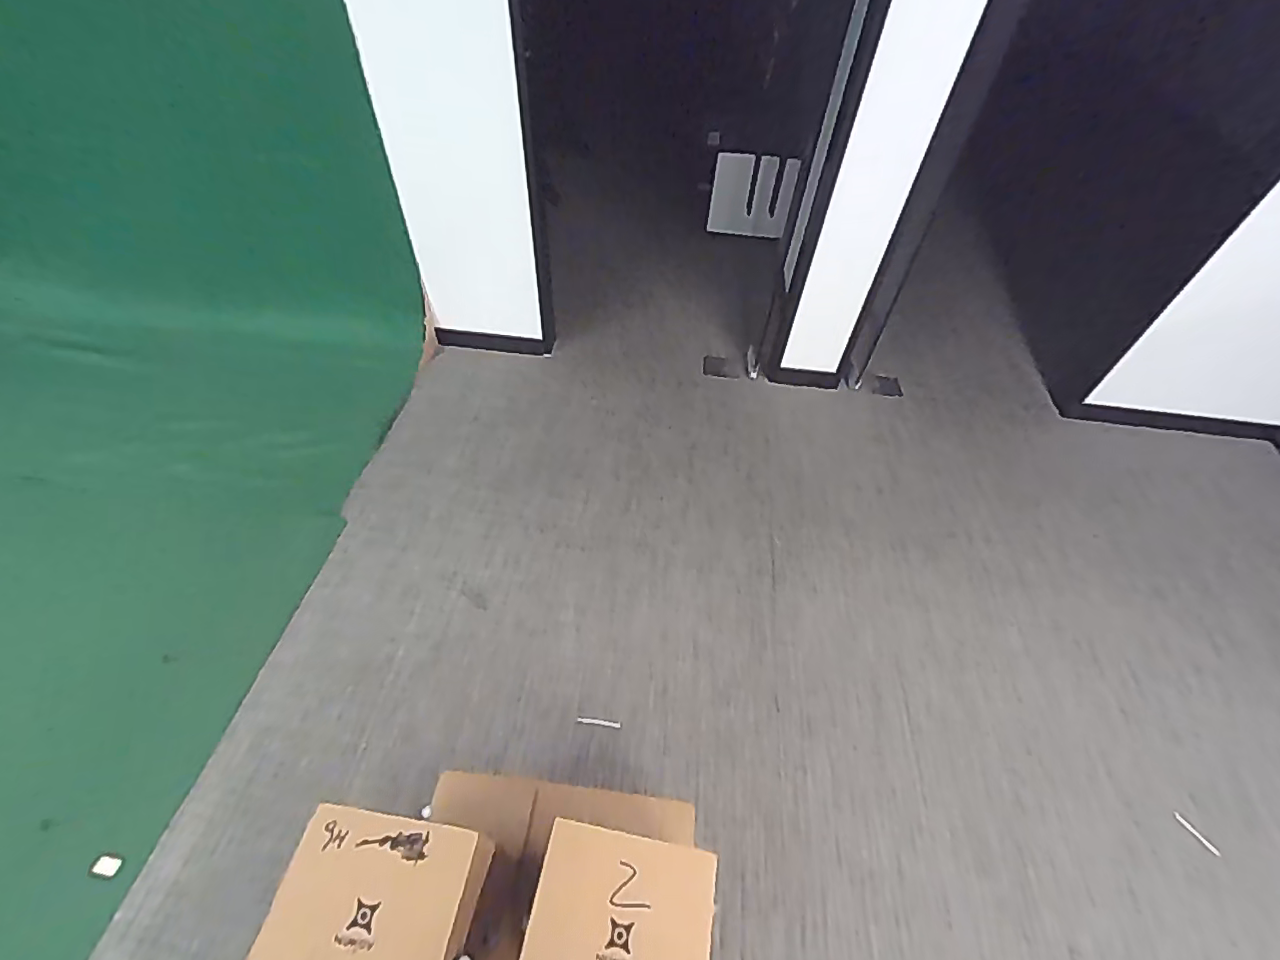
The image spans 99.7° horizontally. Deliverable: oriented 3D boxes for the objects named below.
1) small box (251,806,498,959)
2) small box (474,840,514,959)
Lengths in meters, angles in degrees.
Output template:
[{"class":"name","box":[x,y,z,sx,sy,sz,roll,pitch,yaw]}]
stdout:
[{"class":"small box","box":[-0.253,0.452,0.541,0.168,0.176,0.179,9,52,3]},{"class":"small box","box":[-0.261,0.552,0.670,0.168,0.176,0.179,8,51,2]}]
